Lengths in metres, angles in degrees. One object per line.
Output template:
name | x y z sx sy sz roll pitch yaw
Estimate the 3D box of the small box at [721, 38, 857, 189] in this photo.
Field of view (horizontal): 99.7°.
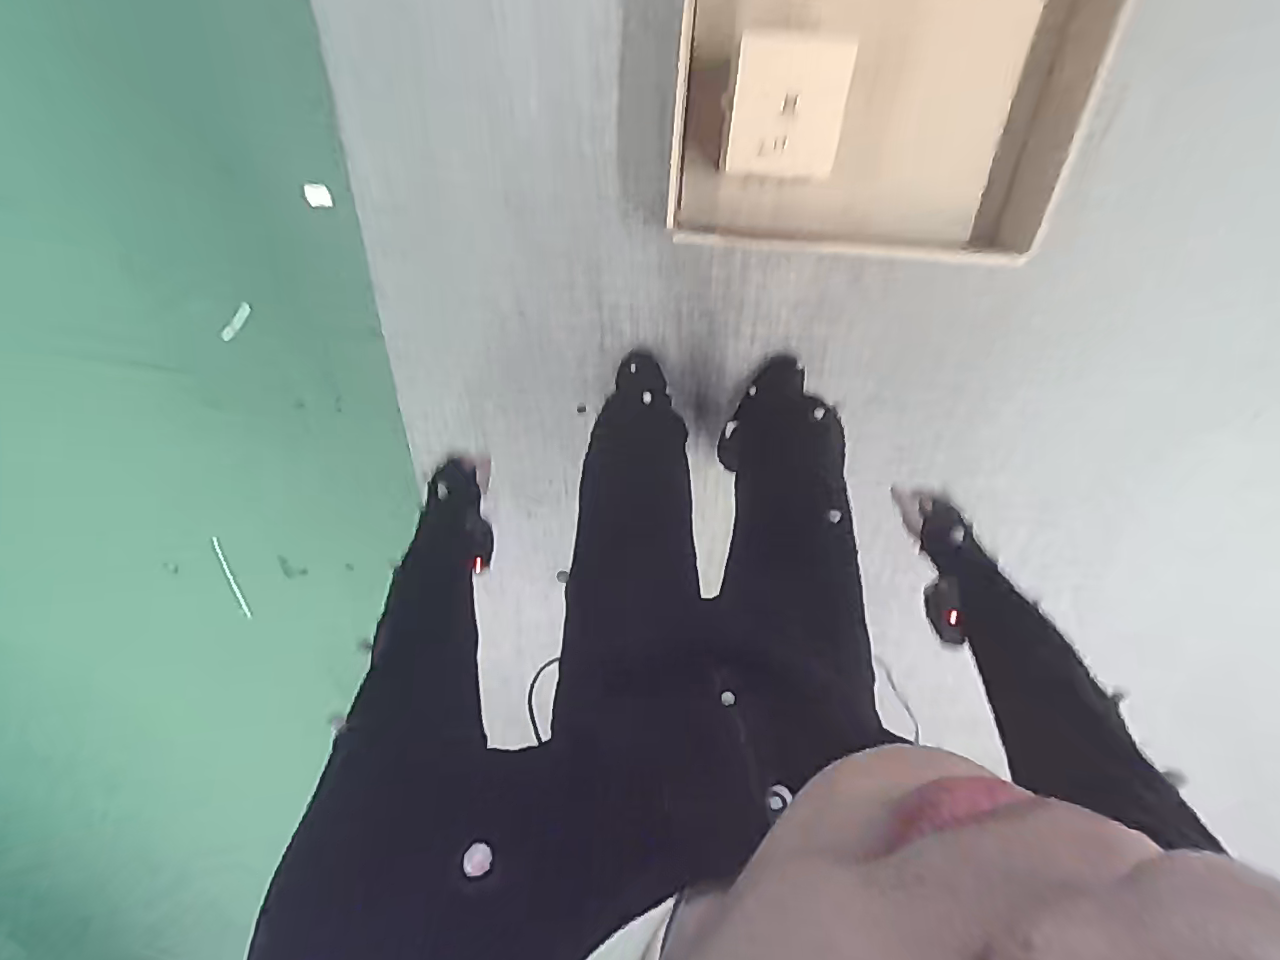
small box | 0.226 -0.578 0.874 0.168 0.176 0.179 5 117 2
